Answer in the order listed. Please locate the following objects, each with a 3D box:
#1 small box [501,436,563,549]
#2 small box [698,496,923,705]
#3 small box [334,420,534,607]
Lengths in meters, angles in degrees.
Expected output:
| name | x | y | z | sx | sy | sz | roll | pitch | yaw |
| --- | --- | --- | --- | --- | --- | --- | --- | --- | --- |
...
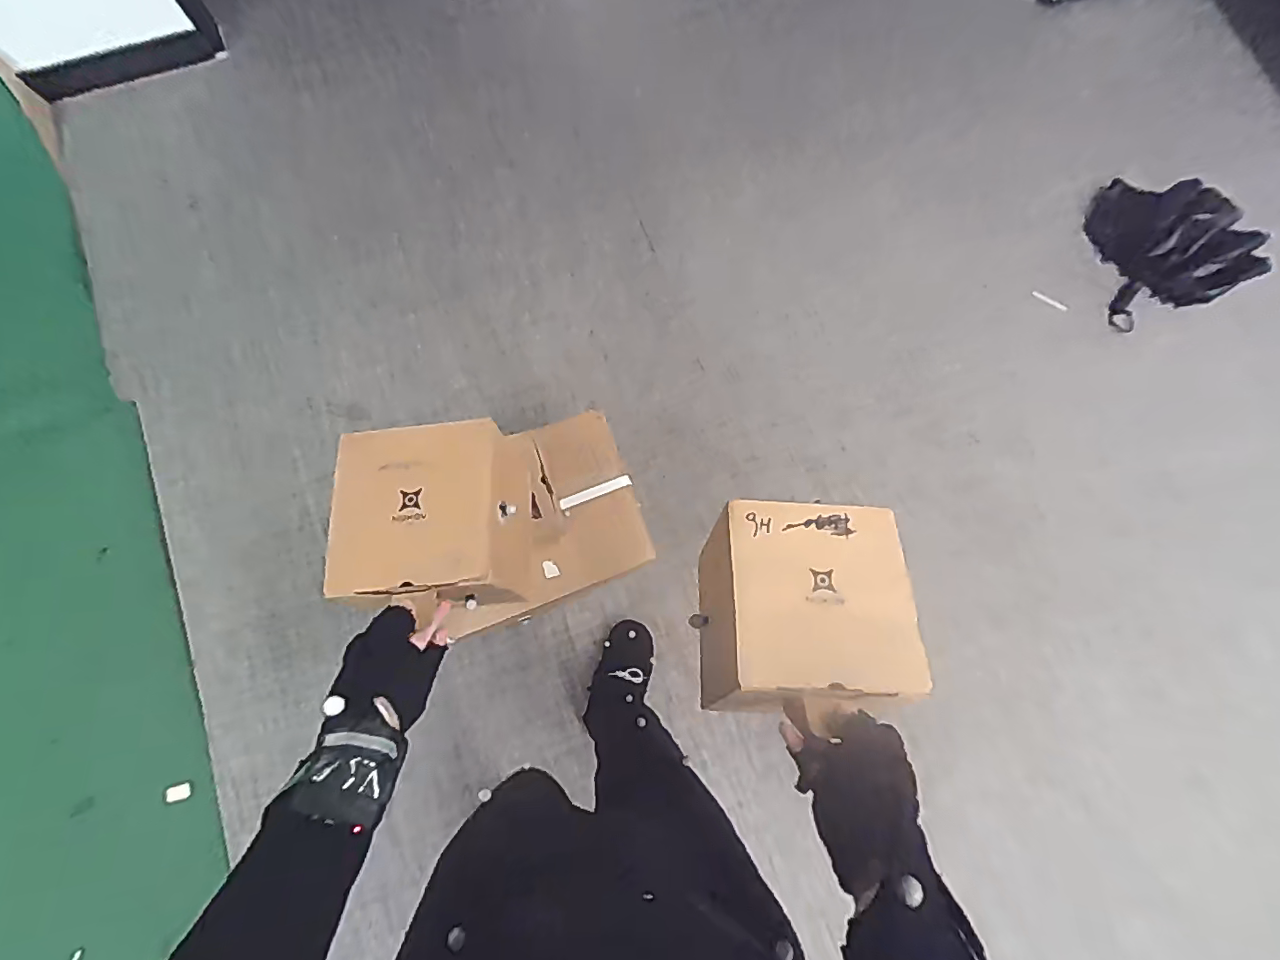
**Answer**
| name | x | y | z | sx | sy | sz | roll | pitch | yaw |
| --- | --- | --- | --- | --- | --- | --- | --- | --- | --- |
| small box | -0.229 | 0.038 | 0.899 | 0.179 | 0.176 | 0.168 | -14 | 83 | -6 |
| small box | 0.157 | 0.134 | 0.565 | 0.168 | 0.176 | 0.179 | 4 | 62 | -4 |
| small box | -0.224 | 0.051 | 0.632 | 0.168 | 0.176 | 0.179 | -7 | 70 | 1 |
